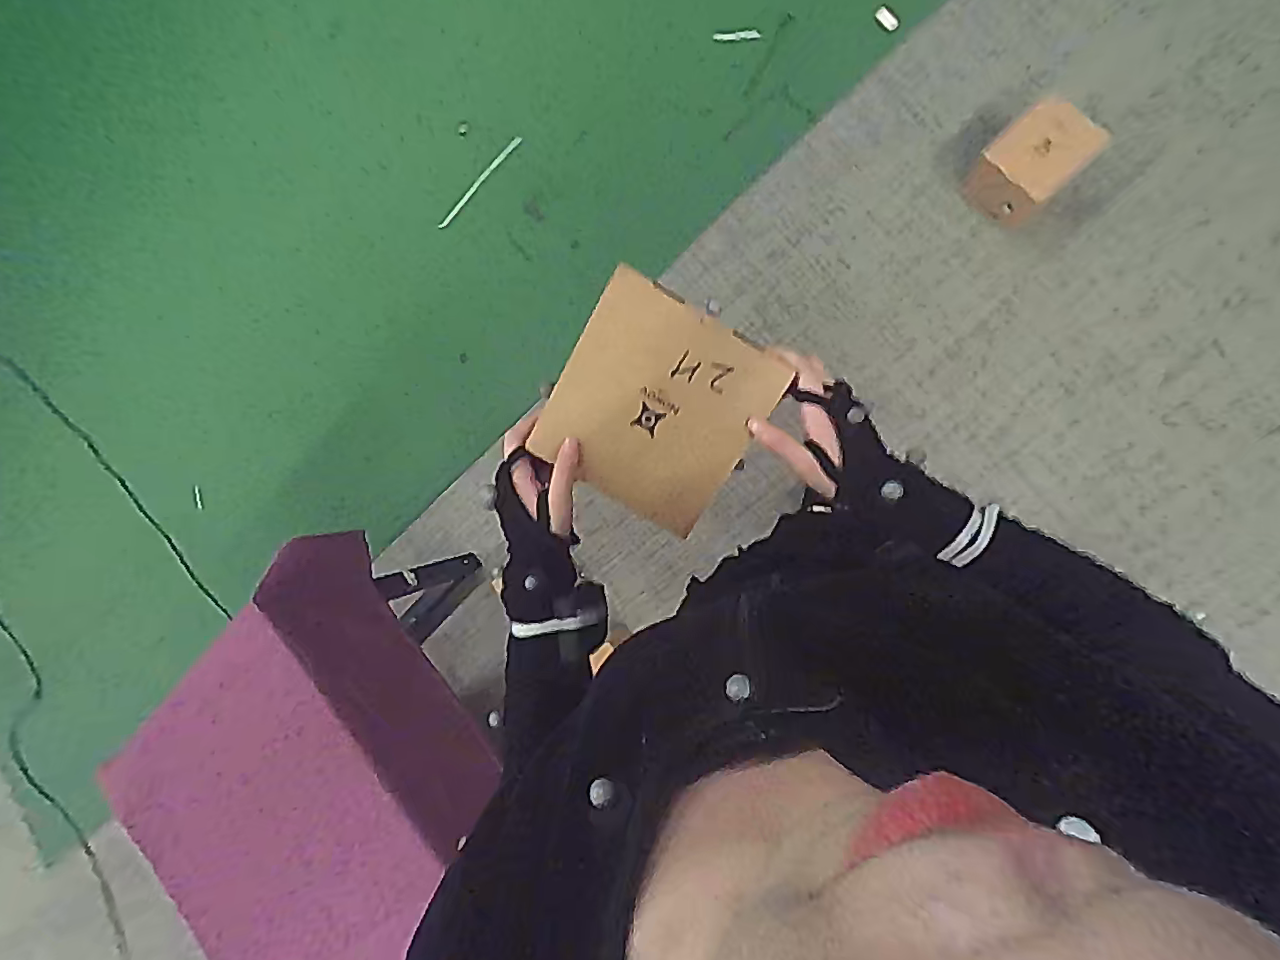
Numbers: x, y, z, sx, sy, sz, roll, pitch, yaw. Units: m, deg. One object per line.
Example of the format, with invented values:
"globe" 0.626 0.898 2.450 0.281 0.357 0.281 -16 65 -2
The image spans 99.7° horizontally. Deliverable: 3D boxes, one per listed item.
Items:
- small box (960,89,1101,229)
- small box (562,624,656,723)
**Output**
"small box" 0.857 -0.707 1.216 0.179 0.176 0.168 -43 81 12
"small box" -0.079 0.534 1.518 0.168 0.176 0.179 -44 80 12
